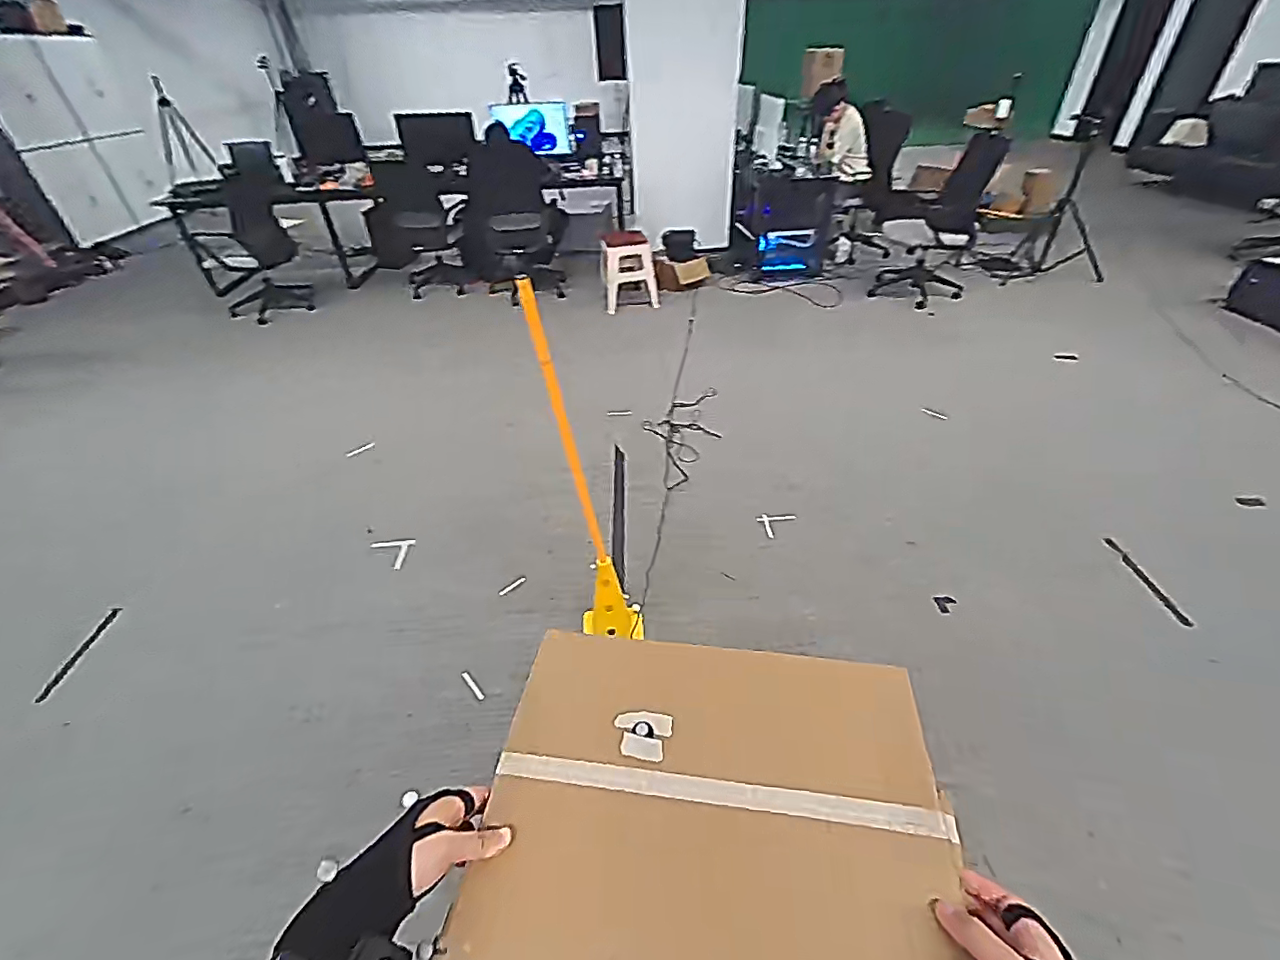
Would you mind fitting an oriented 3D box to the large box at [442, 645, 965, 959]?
[{"bbox_3d":[0.074,0.410,0.594,0.408,0.320,0.320,1,38,10],"label":"large box"}]
